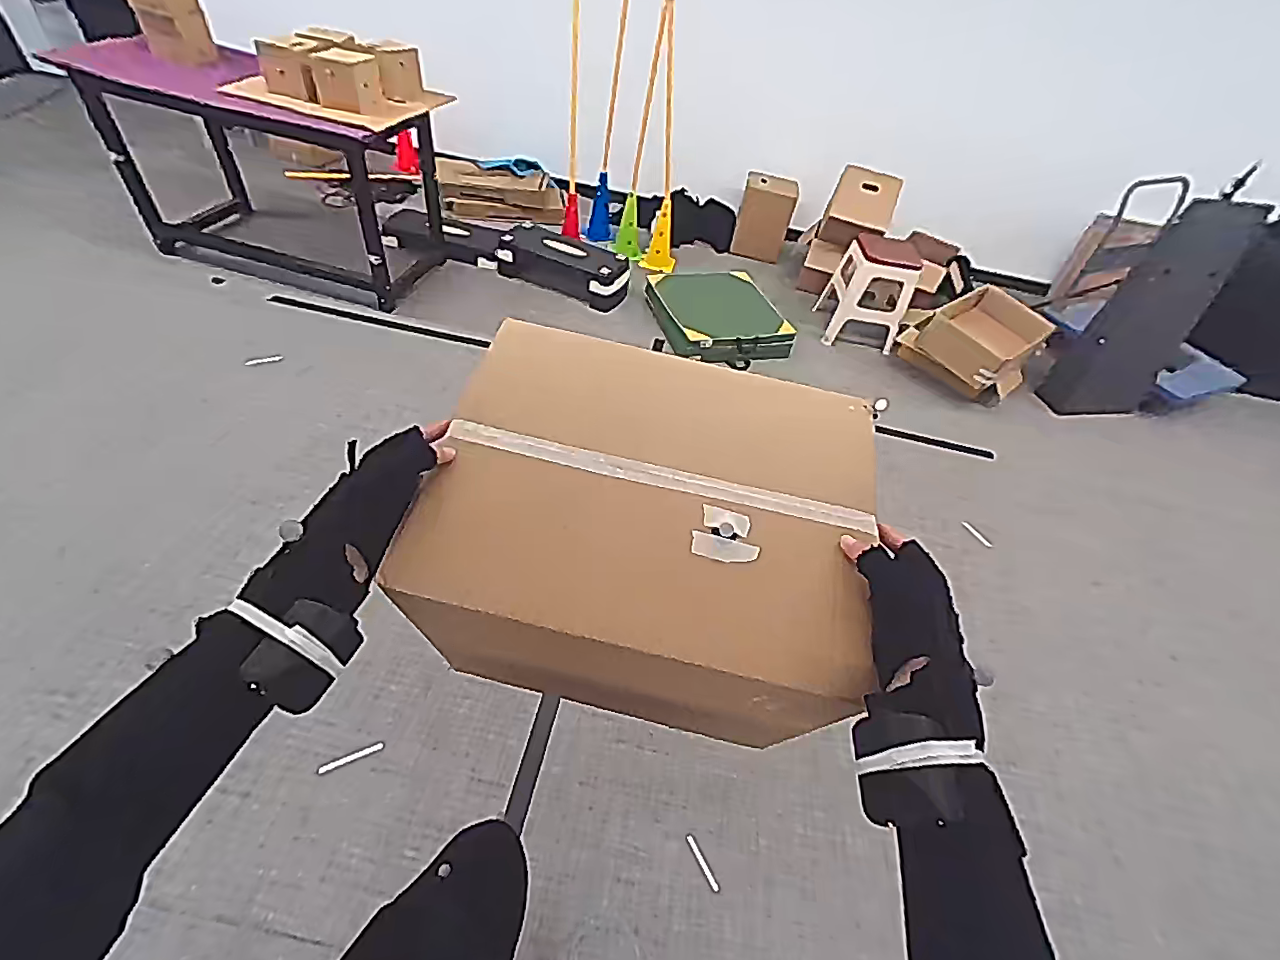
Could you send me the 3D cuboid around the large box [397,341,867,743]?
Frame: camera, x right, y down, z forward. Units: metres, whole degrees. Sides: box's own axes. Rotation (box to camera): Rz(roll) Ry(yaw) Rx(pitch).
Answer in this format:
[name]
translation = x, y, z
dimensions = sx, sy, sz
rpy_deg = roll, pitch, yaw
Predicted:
[large box]
translation = 0.003, 0.088, 0.644
dimensions = 0.408, 0.320, 0.320
rpy_deg = 14, 58, 2
